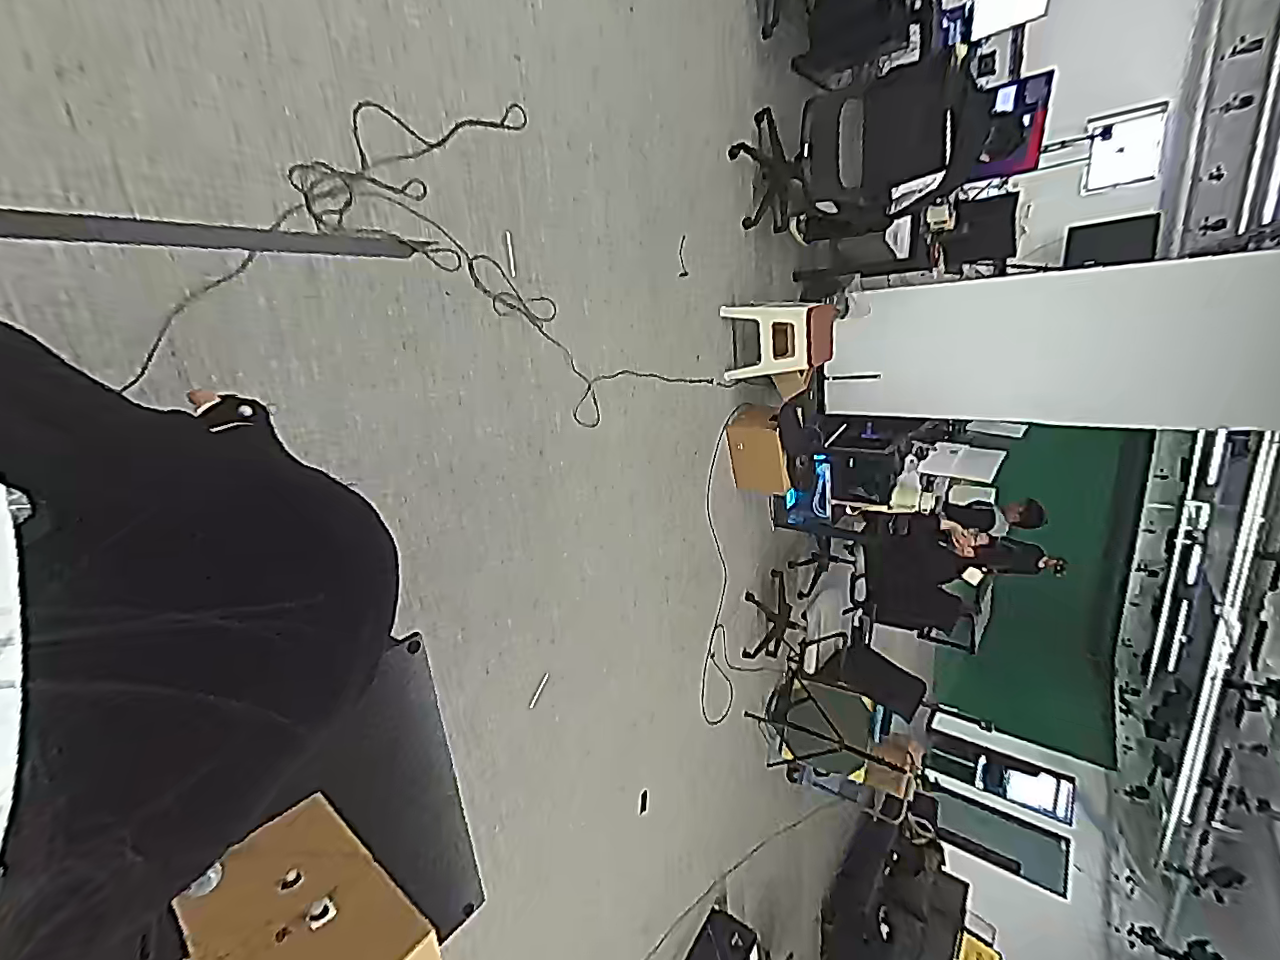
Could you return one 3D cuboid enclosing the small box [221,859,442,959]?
[{"bbox_3d":[-0.329,0.575,0.594,0.168,0.176,0.179,-24,114,-49],"label":"small box"}]

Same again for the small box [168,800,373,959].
[{"bbox_3d":[-0.457,0.561,0.693,0.179,0.176,0.168,-22,112,-47],"label":"small box"}]
